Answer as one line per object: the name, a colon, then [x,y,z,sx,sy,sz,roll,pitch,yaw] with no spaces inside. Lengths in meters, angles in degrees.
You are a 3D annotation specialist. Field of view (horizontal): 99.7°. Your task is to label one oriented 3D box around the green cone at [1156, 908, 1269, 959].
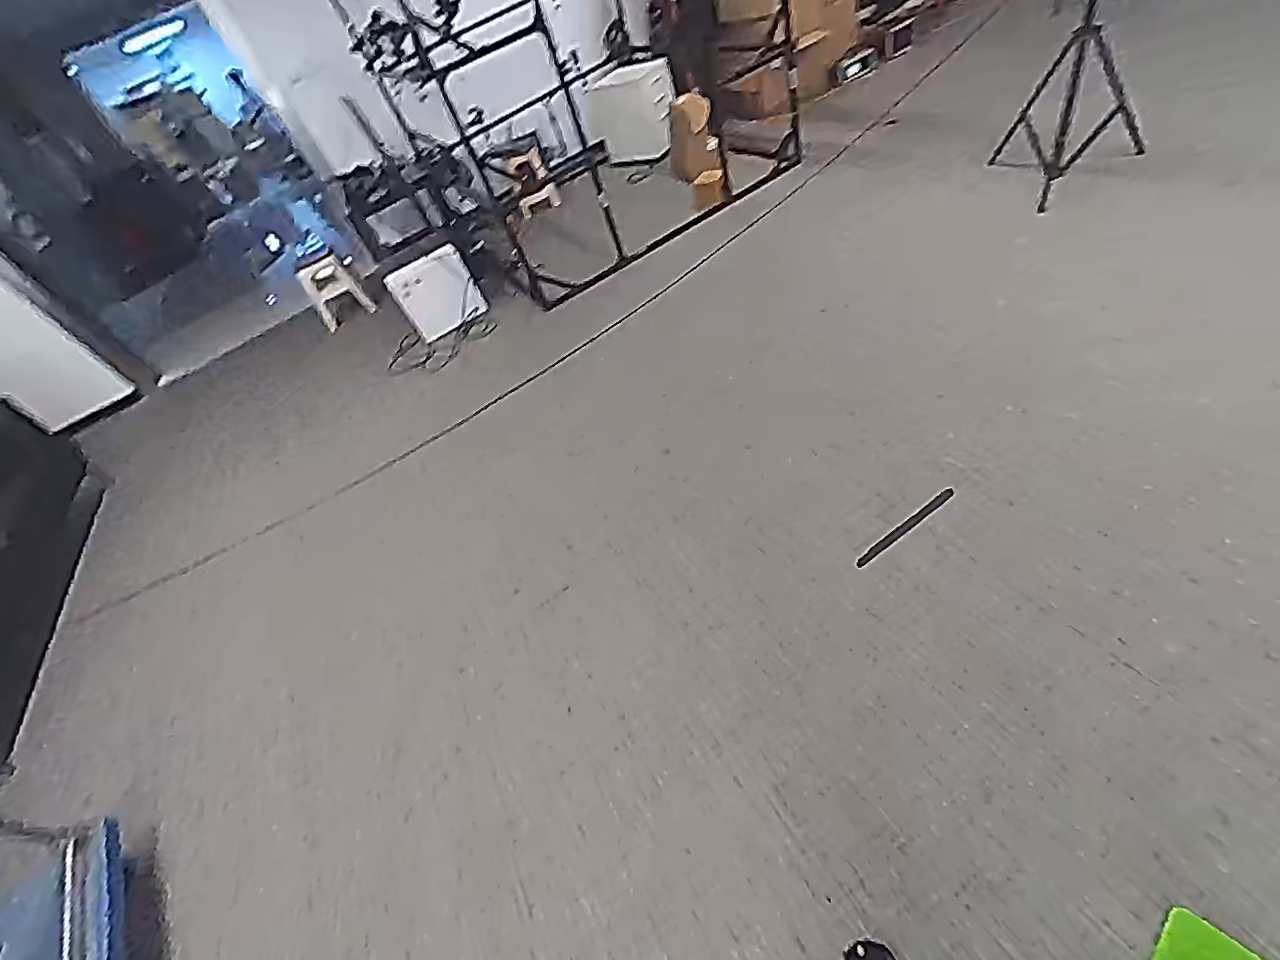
green cone: [0.905,0.732,0.742,0.200,0.368,0.202,27,63,39]
